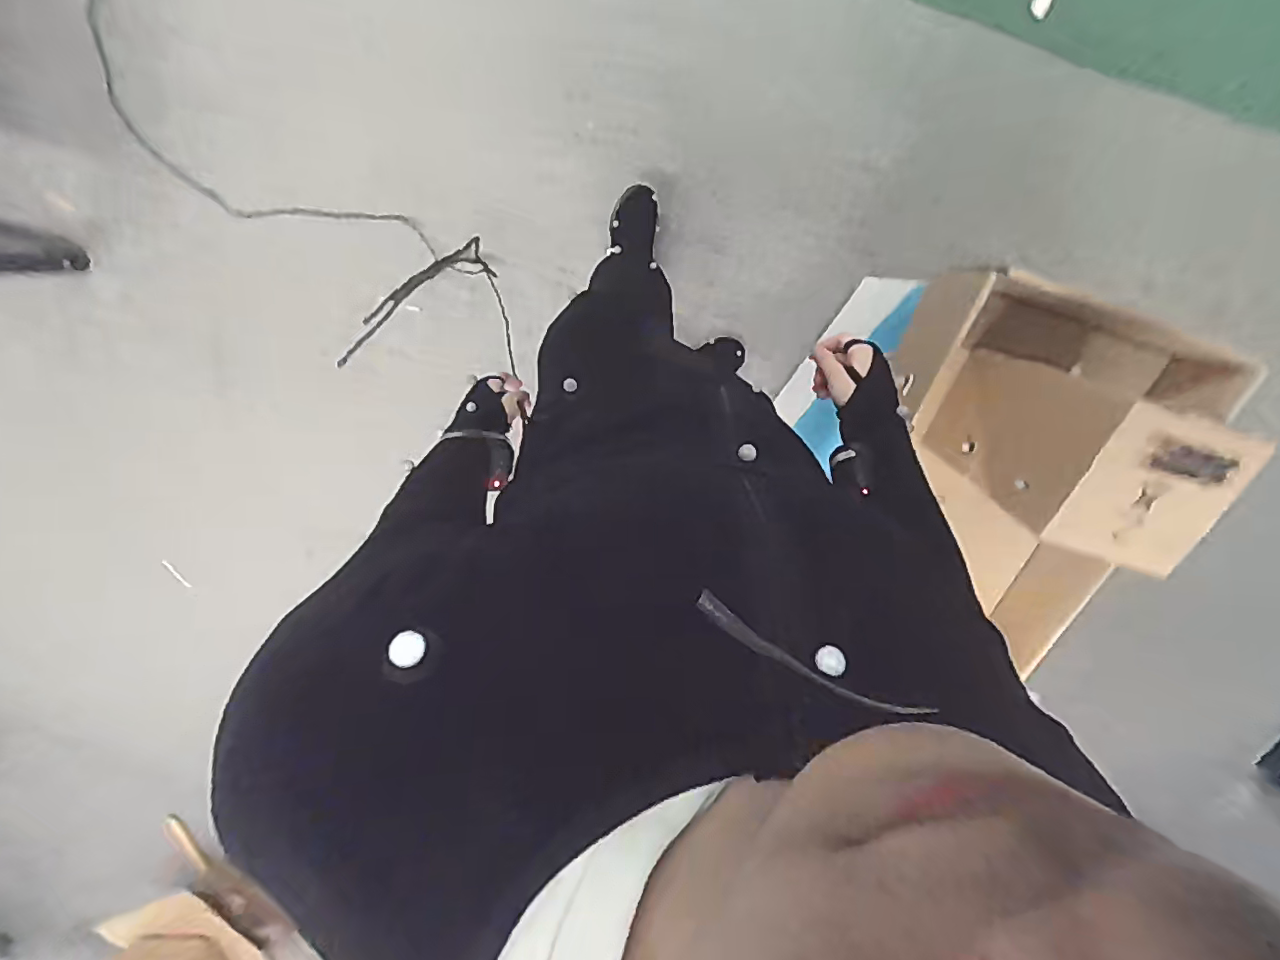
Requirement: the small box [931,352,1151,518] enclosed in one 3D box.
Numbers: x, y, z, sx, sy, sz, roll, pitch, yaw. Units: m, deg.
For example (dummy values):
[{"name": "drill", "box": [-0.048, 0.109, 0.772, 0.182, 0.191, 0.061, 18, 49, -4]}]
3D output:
[{"name": "small box", "box": [0.575, -0.076, 0.810, 0.168, 0.176, 0.179, 17, 115, -3]}]
